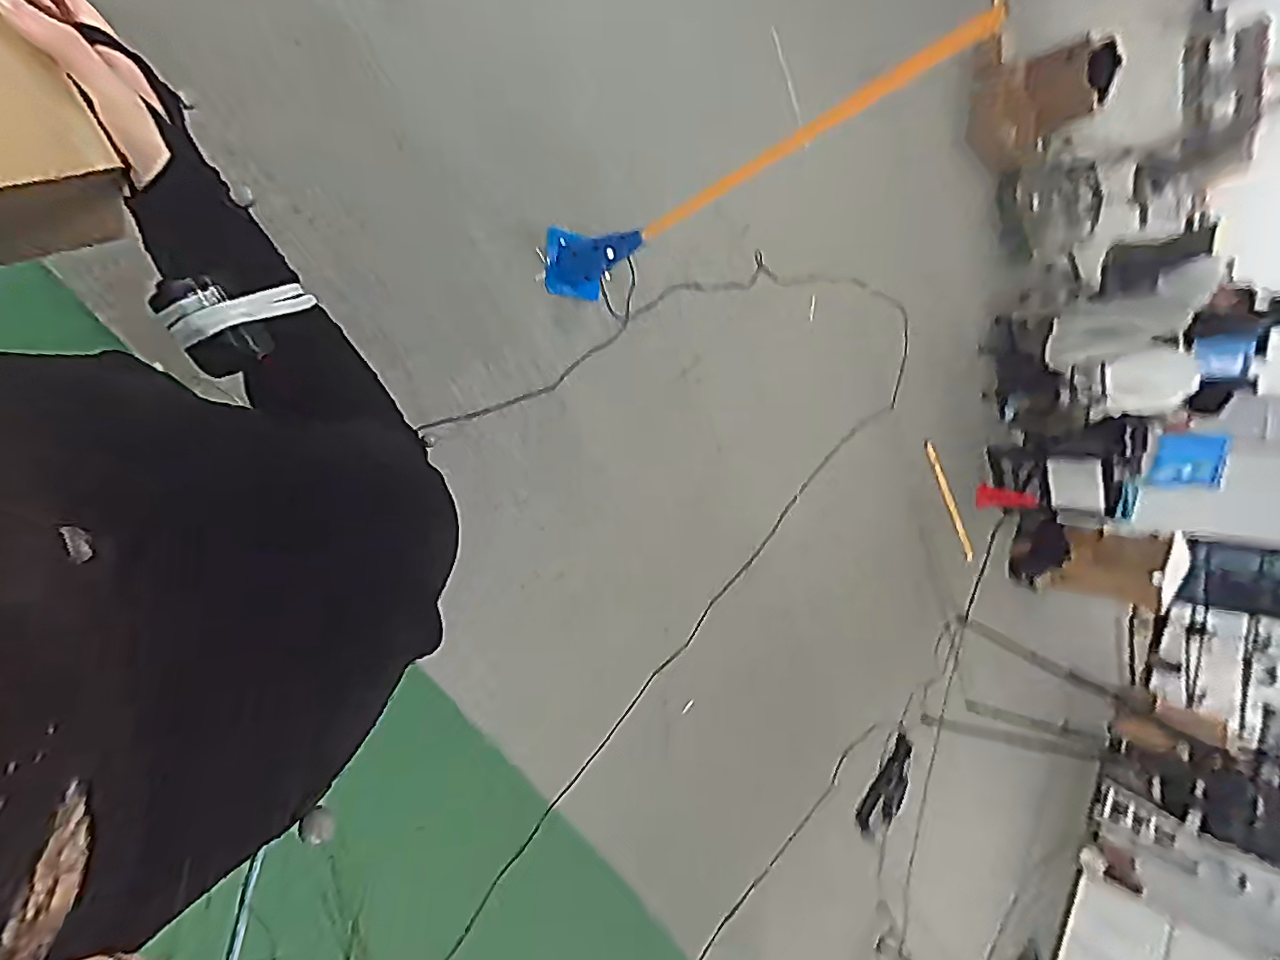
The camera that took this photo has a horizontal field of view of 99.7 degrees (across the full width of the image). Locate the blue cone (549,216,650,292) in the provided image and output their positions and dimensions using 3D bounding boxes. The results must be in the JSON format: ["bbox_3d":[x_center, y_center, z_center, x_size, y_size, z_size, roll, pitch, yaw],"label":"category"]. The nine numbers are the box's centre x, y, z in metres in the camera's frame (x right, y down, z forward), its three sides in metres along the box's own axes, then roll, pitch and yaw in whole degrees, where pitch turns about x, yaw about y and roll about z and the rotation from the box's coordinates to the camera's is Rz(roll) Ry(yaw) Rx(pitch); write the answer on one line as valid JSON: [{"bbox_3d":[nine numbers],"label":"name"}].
[{"bbox_3d":[-0.098,-0.687,1.583,0.193,0.380,0.192,-6,98,-37],"label":"blue cone"}]
